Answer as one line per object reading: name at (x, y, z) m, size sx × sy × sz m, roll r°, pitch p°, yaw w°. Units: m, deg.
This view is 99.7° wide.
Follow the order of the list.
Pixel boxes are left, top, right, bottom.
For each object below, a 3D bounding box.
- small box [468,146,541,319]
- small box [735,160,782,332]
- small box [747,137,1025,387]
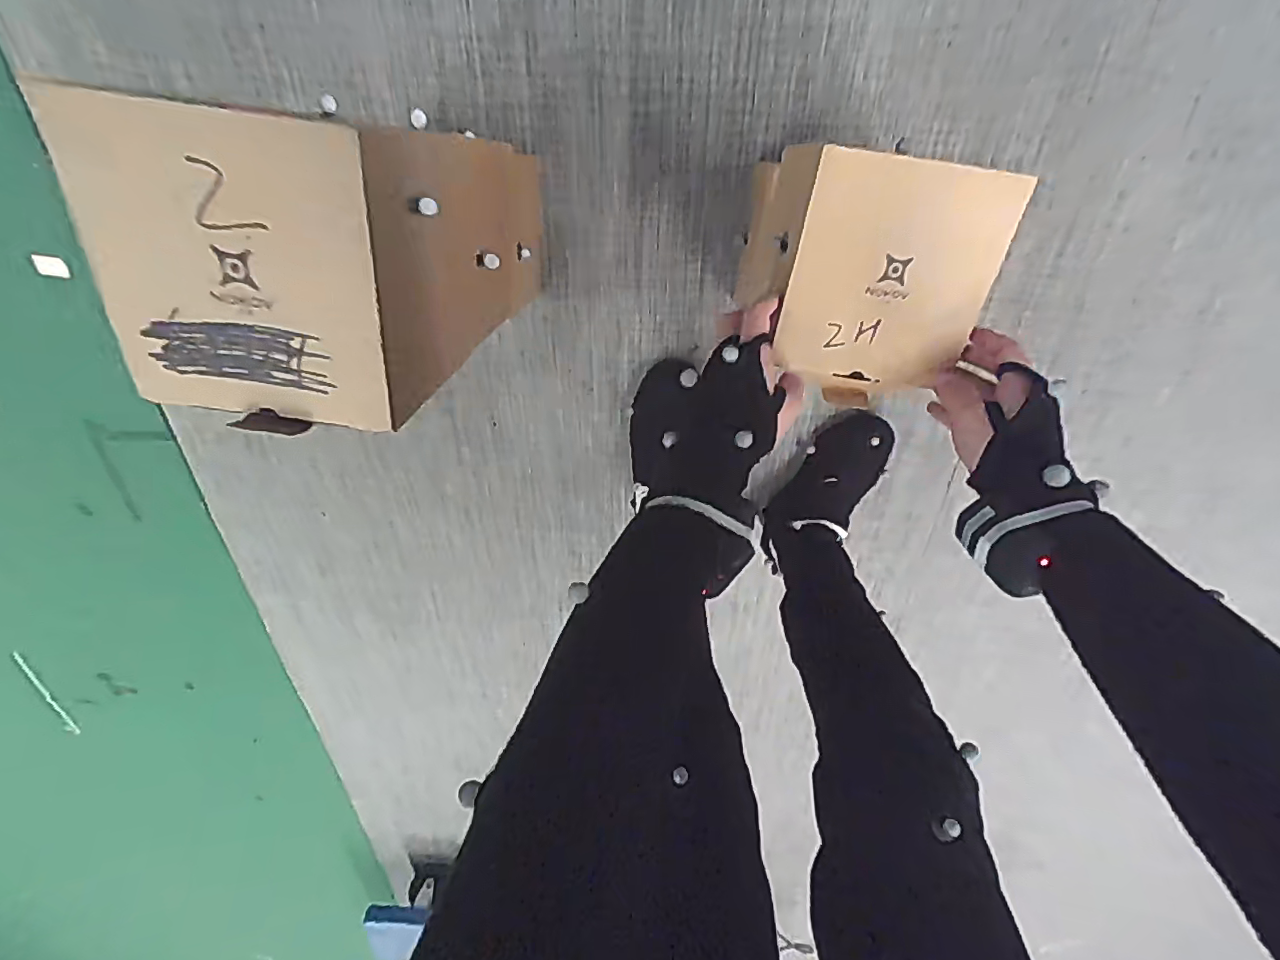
small box at (-0.222, -0.317, 0.676) m, size 0.168 × 0.176 × 0.179 m, roll 7°, pitch 119°, yaw -1°
small box at (0.214, -0.286, 0.668) m, size 0.168 × 0.176 × 0.179 m, roll 5°, pitch 121°, yaw 0°
small box at (0.207, -0.211, 0.520) m, size 0.168 × 0.176 × 0.179 m, roll 9°, pitch 121°, yaw -1°
